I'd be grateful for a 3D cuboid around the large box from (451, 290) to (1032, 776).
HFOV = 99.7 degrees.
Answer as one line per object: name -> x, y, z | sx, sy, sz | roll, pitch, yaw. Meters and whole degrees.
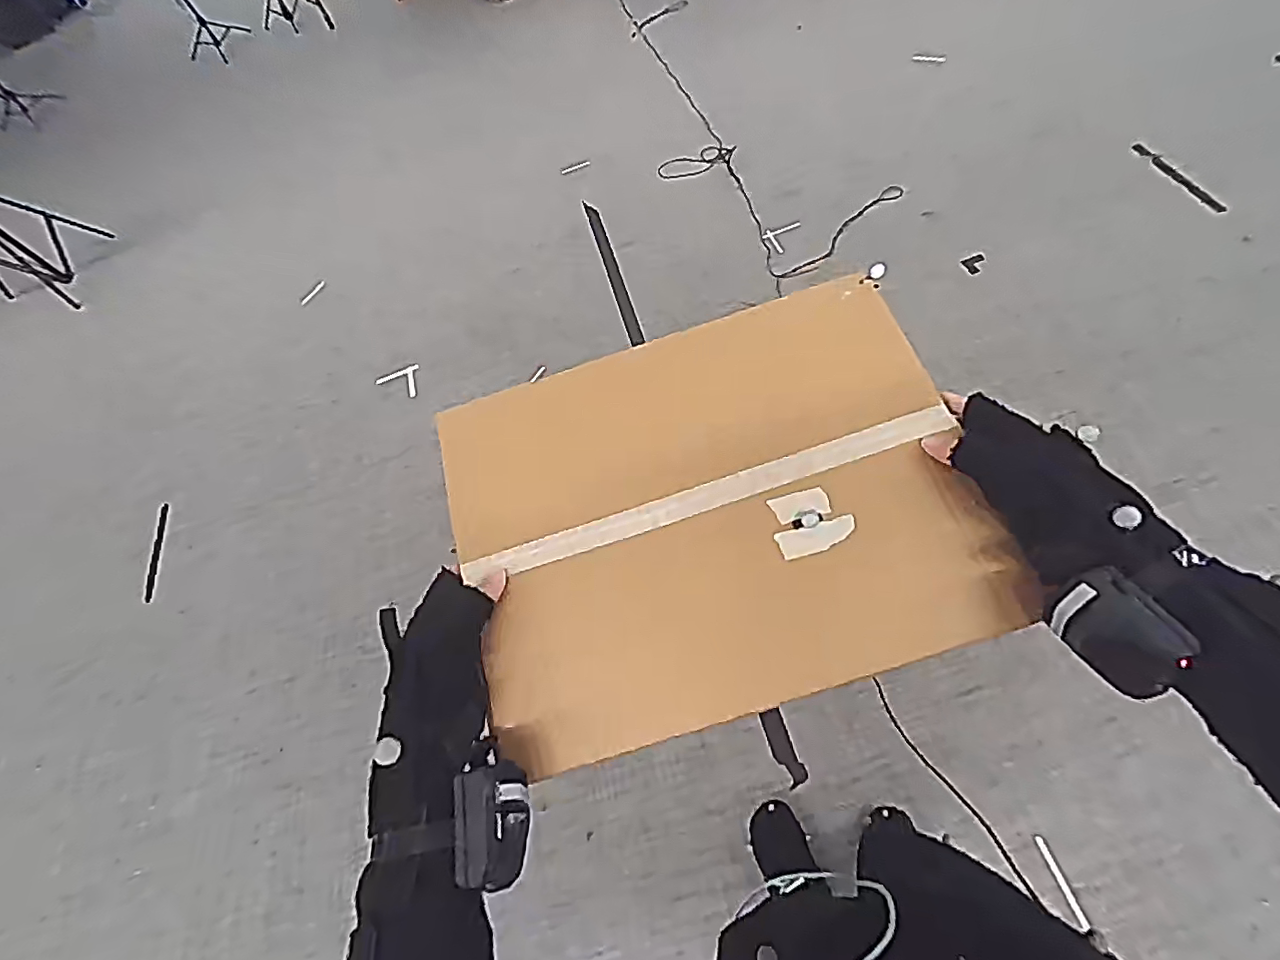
large box -> 0.071, 0.073, 0.582 | 0.408, 0.320, 0.320 | -18, 68, 1
